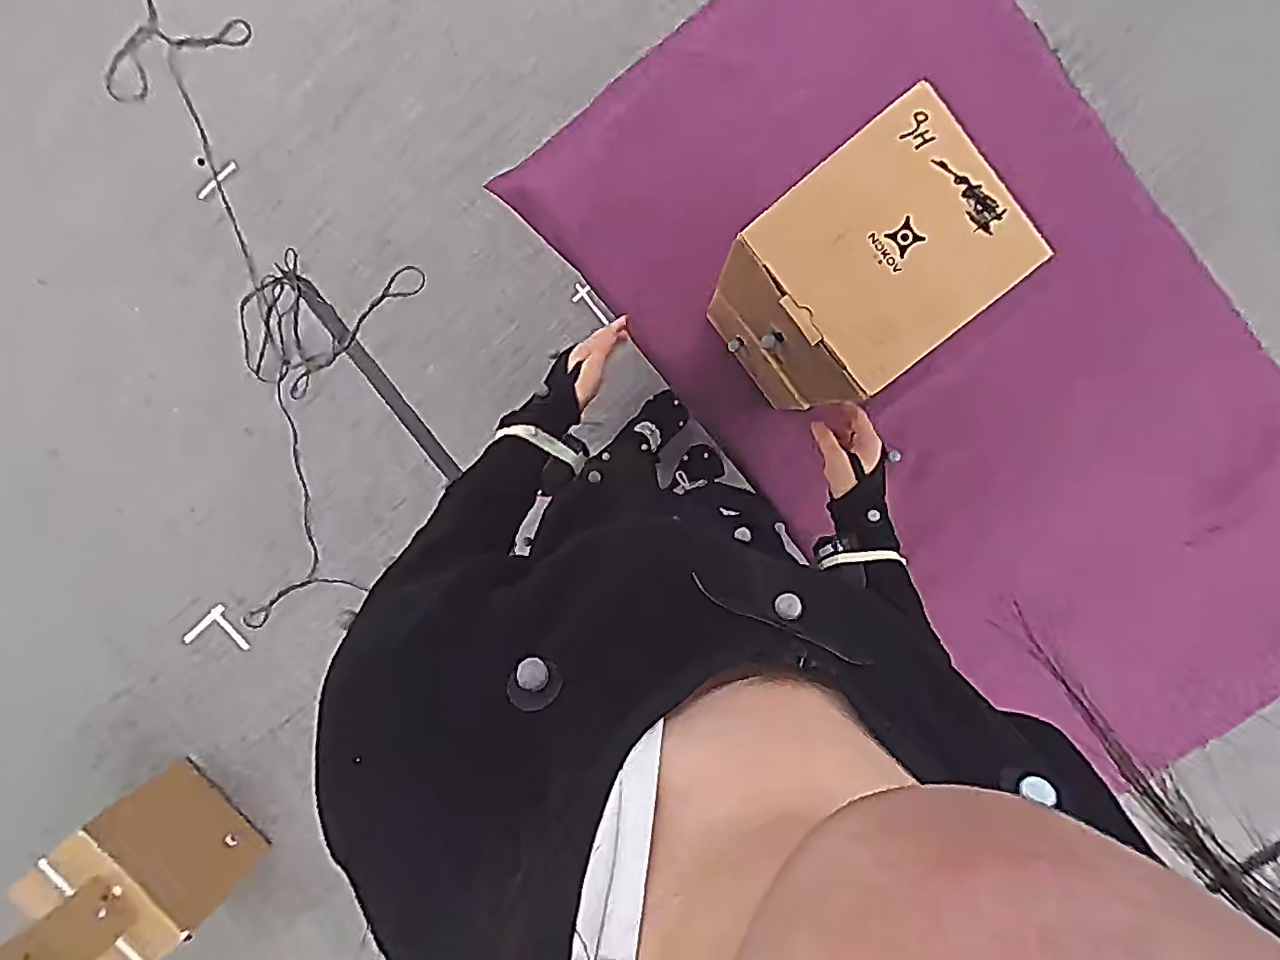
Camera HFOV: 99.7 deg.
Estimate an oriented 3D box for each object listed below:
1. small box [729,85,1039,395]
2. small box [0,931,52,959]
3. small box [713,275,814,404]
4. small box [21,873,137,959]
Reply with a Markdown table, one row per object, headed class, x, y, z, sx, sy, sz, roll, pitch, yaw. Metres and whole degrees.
| class | x | y | z | sx | sy | sz | roll | pitch | yaw |
| --- | --- | --- | --- | --- | --- | --- | --- | --- | --- |
| small box | 0.196 | -0.192 | 0.499 | 0.179 | 0.176 | 0.168 | -38 | 94 | 6 |
| small box | -1.434 | 1.151 | 1.178 | 0.179 | 0.176 | 0.168 | -42 | 92 | 7 |
| small box | 0.203 | -0.205 | 0.663 | 0.179 | 0.176 | 0.168 | -37 | 94 | 6 |
| small box | -1.426 | 1.140 | 1.339 | 0.179 | 0.176 | 0.168 | -41 | 93 | 6 |
